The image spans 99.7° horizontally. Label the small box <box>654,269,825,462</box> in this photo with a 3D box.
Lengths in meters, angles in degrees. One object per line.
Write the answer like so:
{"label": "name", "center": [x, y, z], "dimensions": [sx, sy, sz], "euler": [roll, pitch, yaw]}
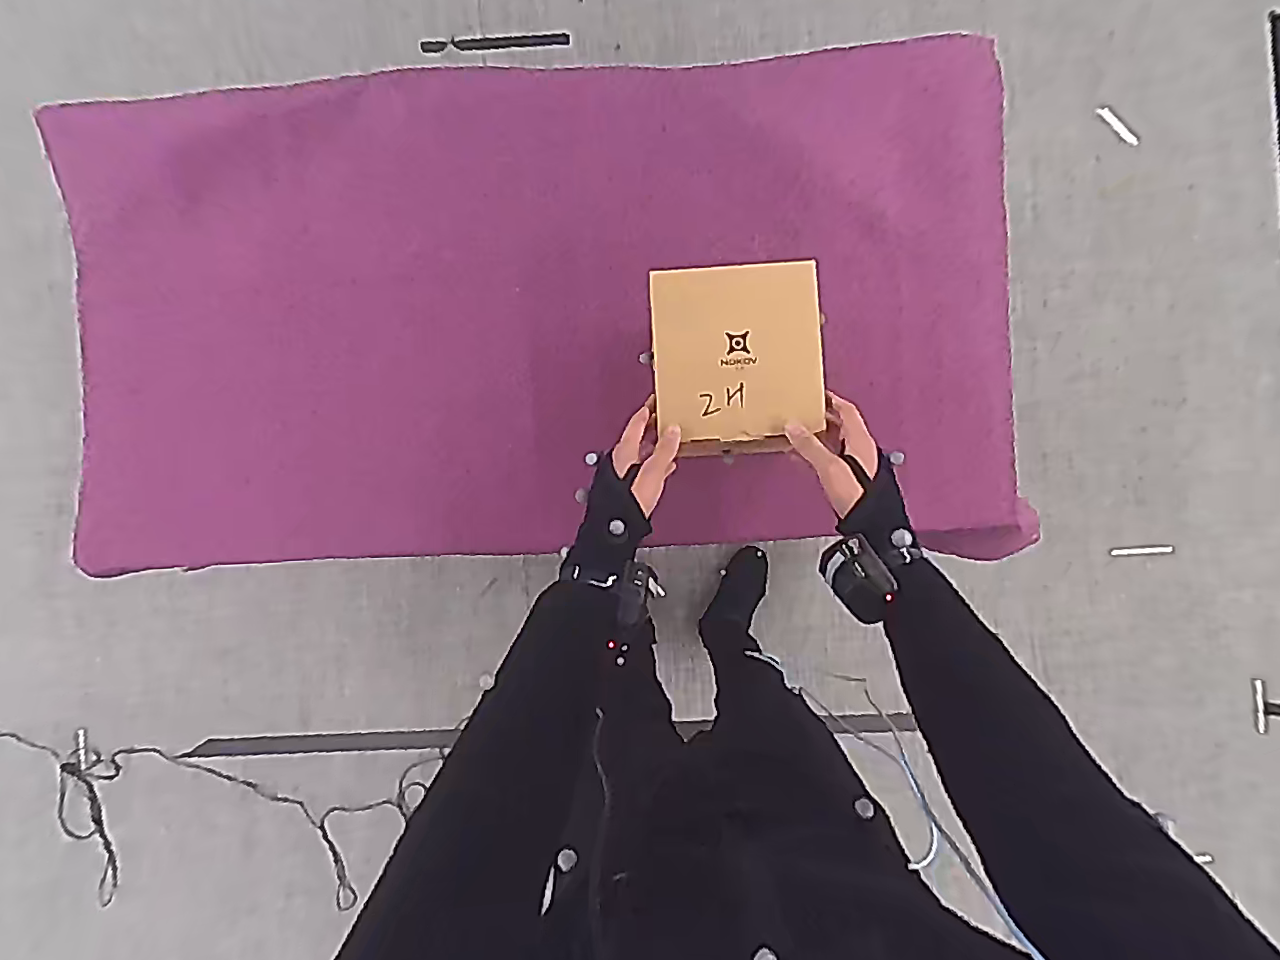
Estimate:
{"label": "small box", "center": [0.100, -0.117, 0.615], "dimensions": [0.168, 0.176, 0.179], "euler": [-3, 87, 3]}
